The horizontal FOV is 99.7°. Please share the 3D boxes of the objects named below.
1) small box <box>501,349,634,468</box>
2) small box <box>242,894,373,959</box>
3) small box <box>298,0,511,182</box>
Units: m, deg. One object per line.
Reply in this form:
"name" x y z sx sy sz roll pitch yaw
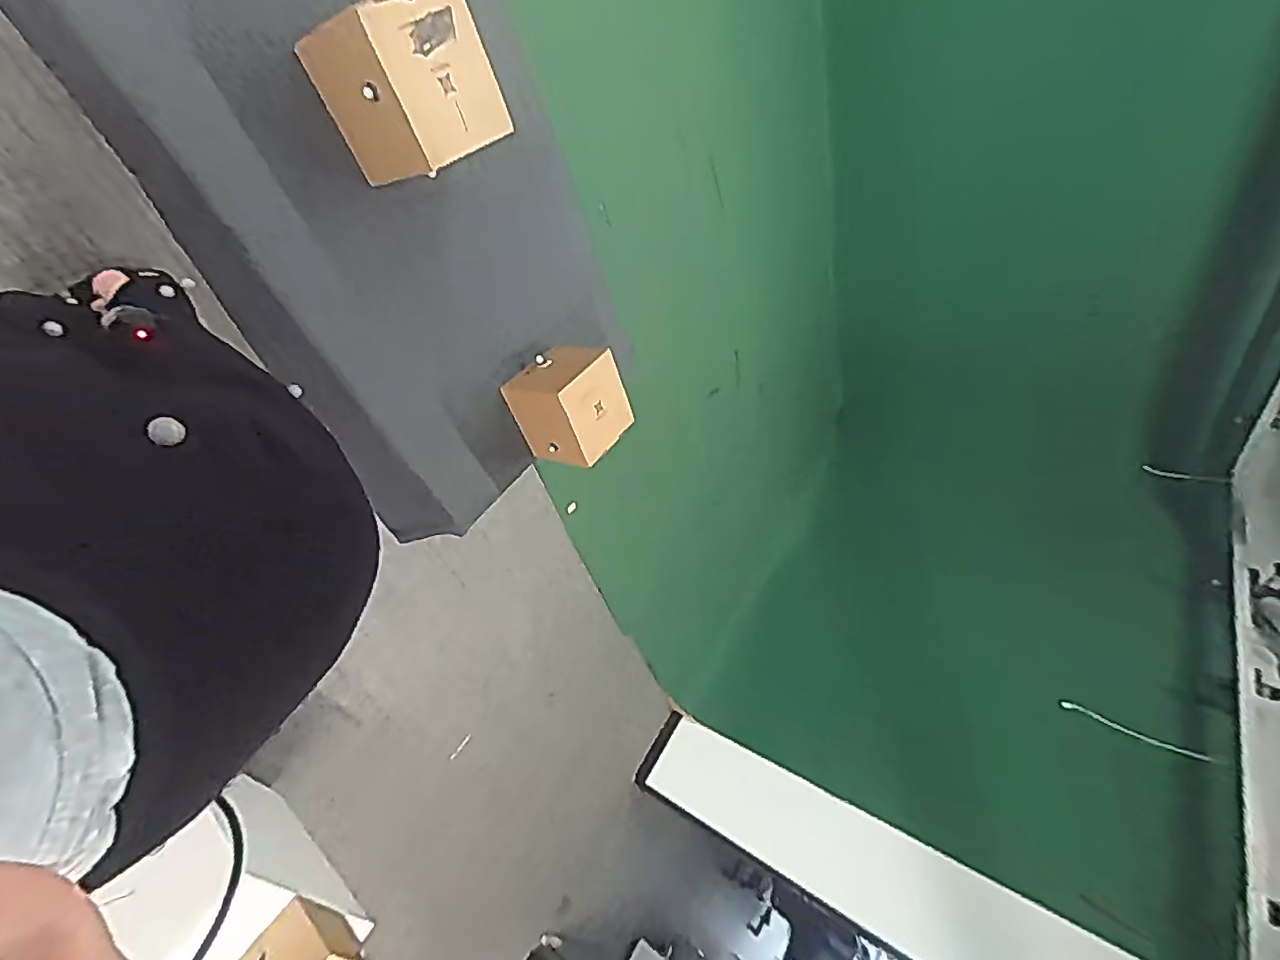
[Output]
"small box" -0.144 -0.152 1.097 0.168 0.176 0.179 -50 135 -32
"small box" -0.638 0.947 1.025 0.179 0.176 0.168 -48 135 -31
"small box" -0.318 -0.535 0.741 0.168 0.176 0.179 -50 138 -31
